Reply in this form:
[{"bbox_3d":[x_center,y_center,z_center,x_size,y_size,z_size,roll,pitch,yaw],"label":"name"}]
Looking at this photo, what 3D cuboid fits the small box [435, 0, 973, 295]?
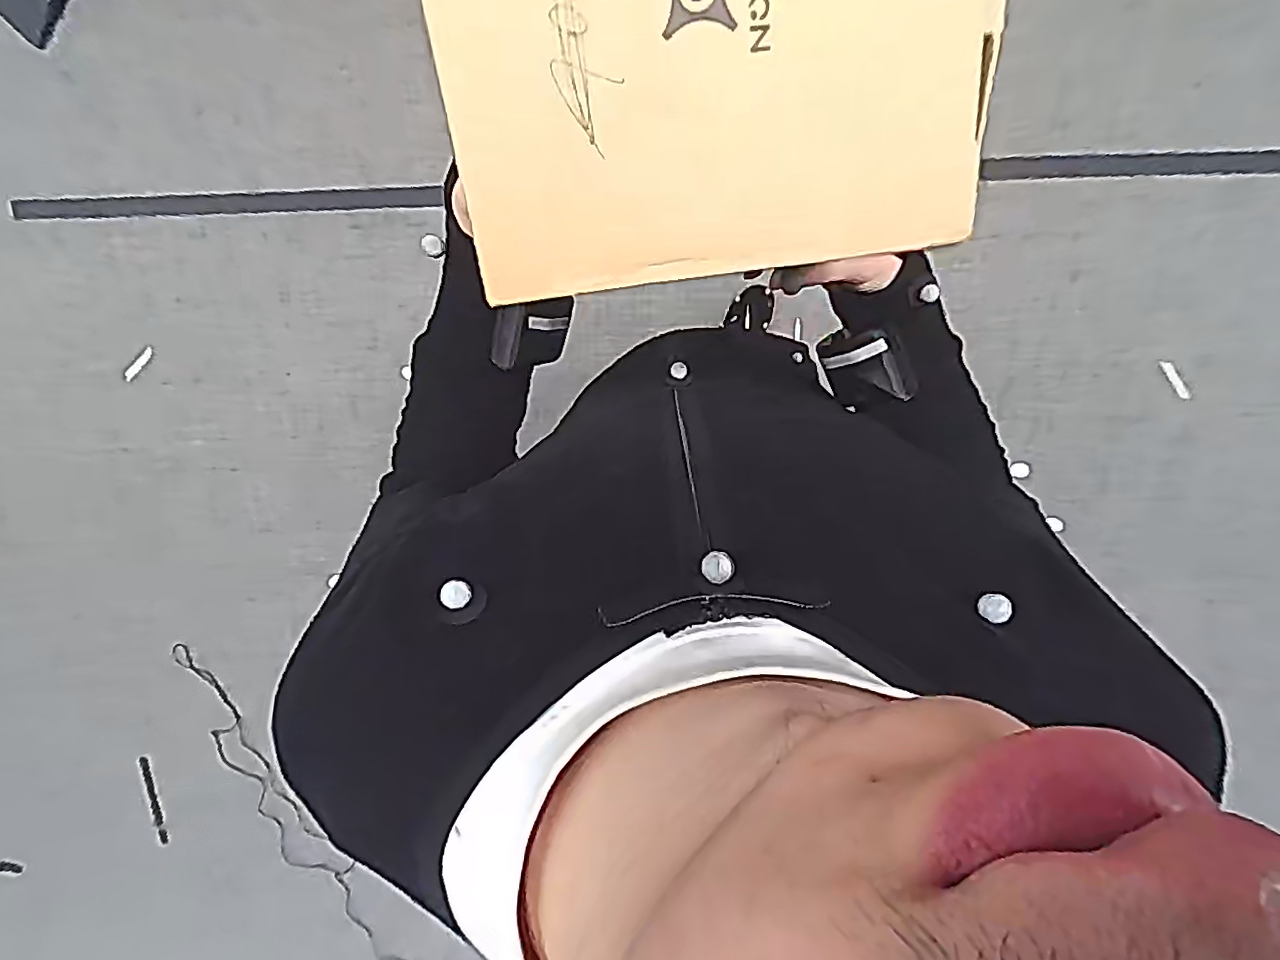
[{"bbox_3d":[0.020,-0.186,0.248,0.179,0.176,0.168,-8,110,3],"label":"small box"}]
